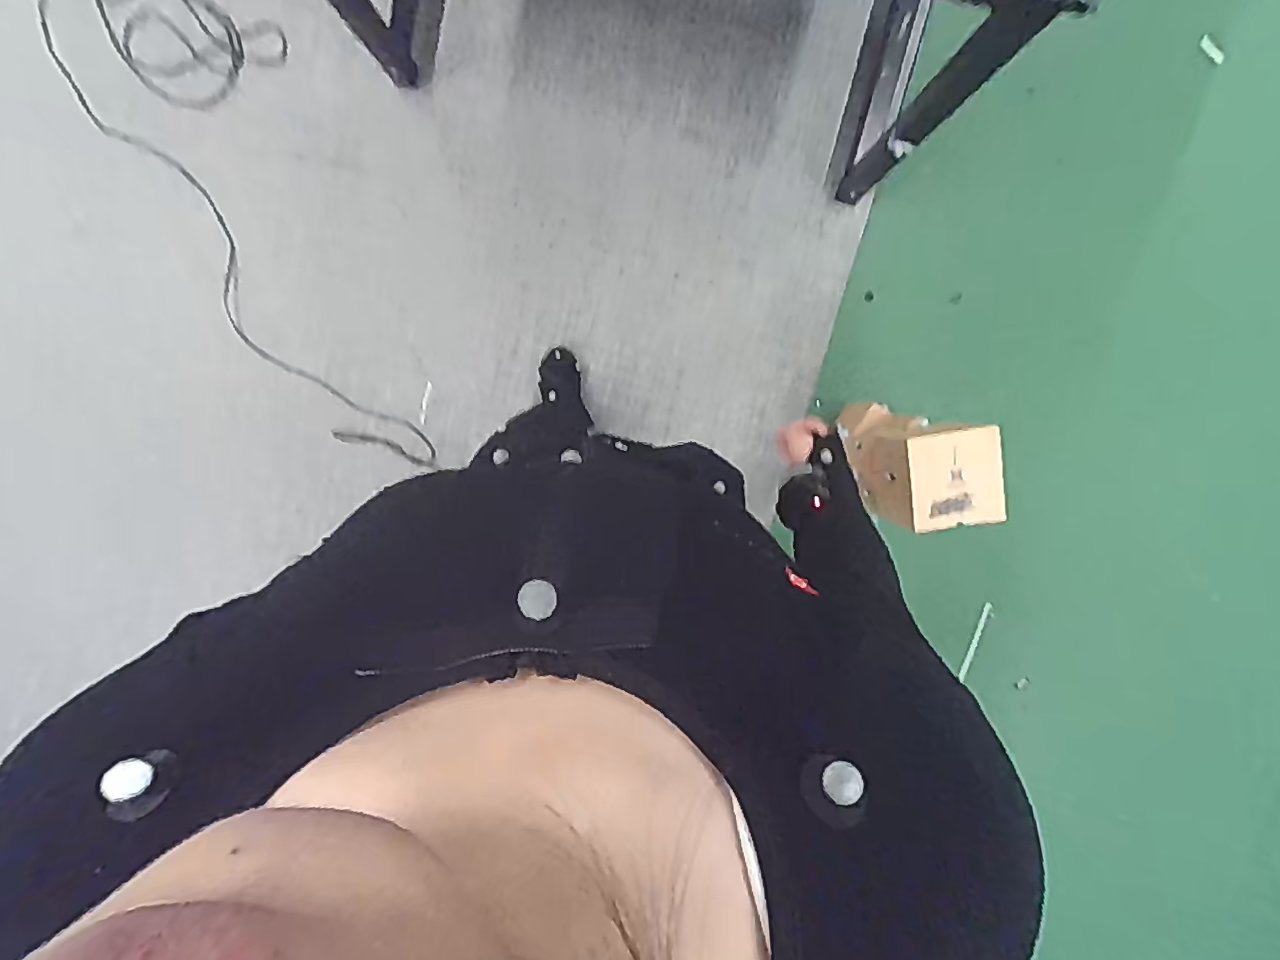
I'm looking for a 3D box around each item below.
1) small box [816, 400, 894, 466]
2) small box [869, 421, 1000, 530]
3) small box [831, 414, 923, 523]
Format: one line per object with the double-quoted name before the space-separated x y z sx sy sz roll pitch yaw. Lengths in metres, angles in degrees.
"small box" 0.577 -0.089 1.369 0.179 0.176 0.168 30 100 -5
"small box" 0.563 -0.015 1.050 0.168 0.176 0.179 -8 98 3
"small box" 0.563 -0.034 1.214 0.168 0.176 0.179 -38 97 8
